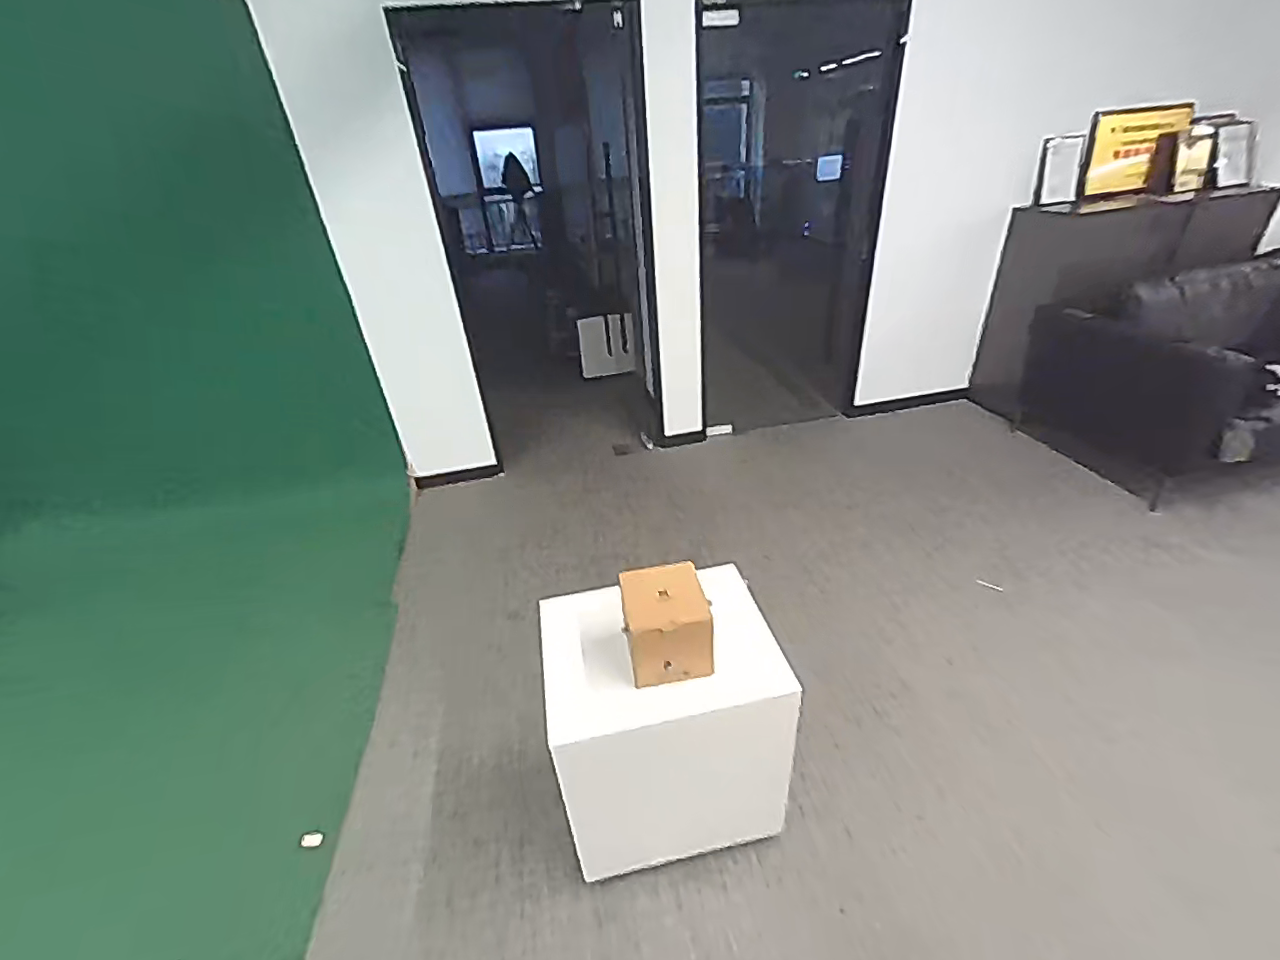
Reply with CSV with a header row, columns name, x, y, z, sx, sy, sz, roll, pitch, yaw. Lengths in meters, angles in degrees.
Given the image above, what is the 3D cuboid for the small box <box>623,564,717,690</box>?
name,x,y,z,sx,sy,sz,roll,pitch,yaw
small box,0.060,0.306,1.137,0.168,0.176,0.179,-9,31,-6
